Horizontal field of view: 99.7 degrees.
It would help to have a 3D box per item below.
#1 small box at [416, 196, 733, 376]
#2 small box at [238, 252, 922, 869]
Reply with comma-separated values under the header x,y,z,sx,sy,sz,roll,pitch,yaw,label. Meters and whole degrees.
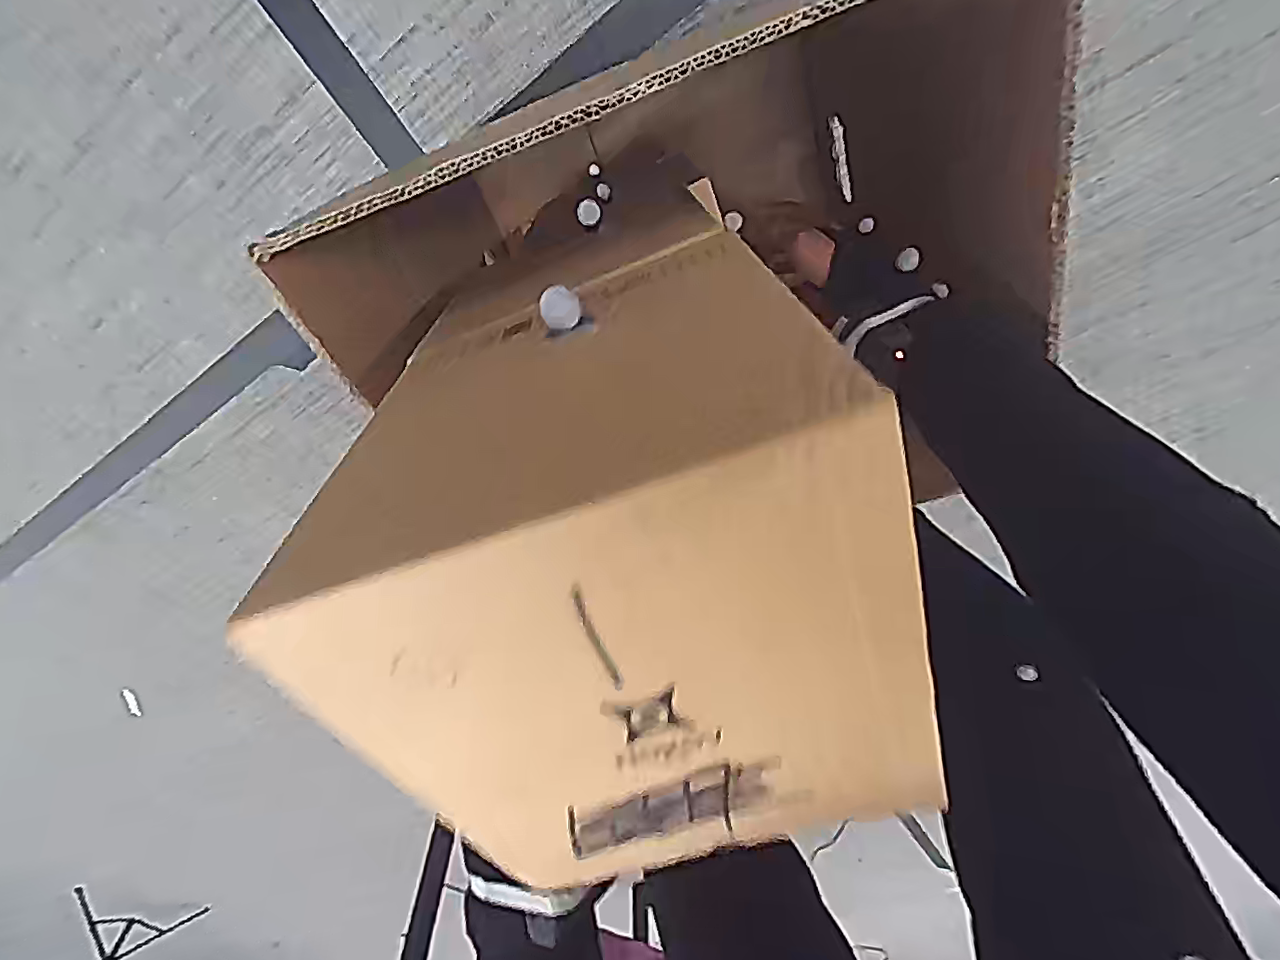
x,y,z,sx,sy,sz,roll,pitch,yaw,label
-0.012,-0.065,0.369,0.168,0.176,0.179,-20,124,9,small box
-0.002,0.030,0.236,0.168,0.176,0.179,-19,124,9,small box
